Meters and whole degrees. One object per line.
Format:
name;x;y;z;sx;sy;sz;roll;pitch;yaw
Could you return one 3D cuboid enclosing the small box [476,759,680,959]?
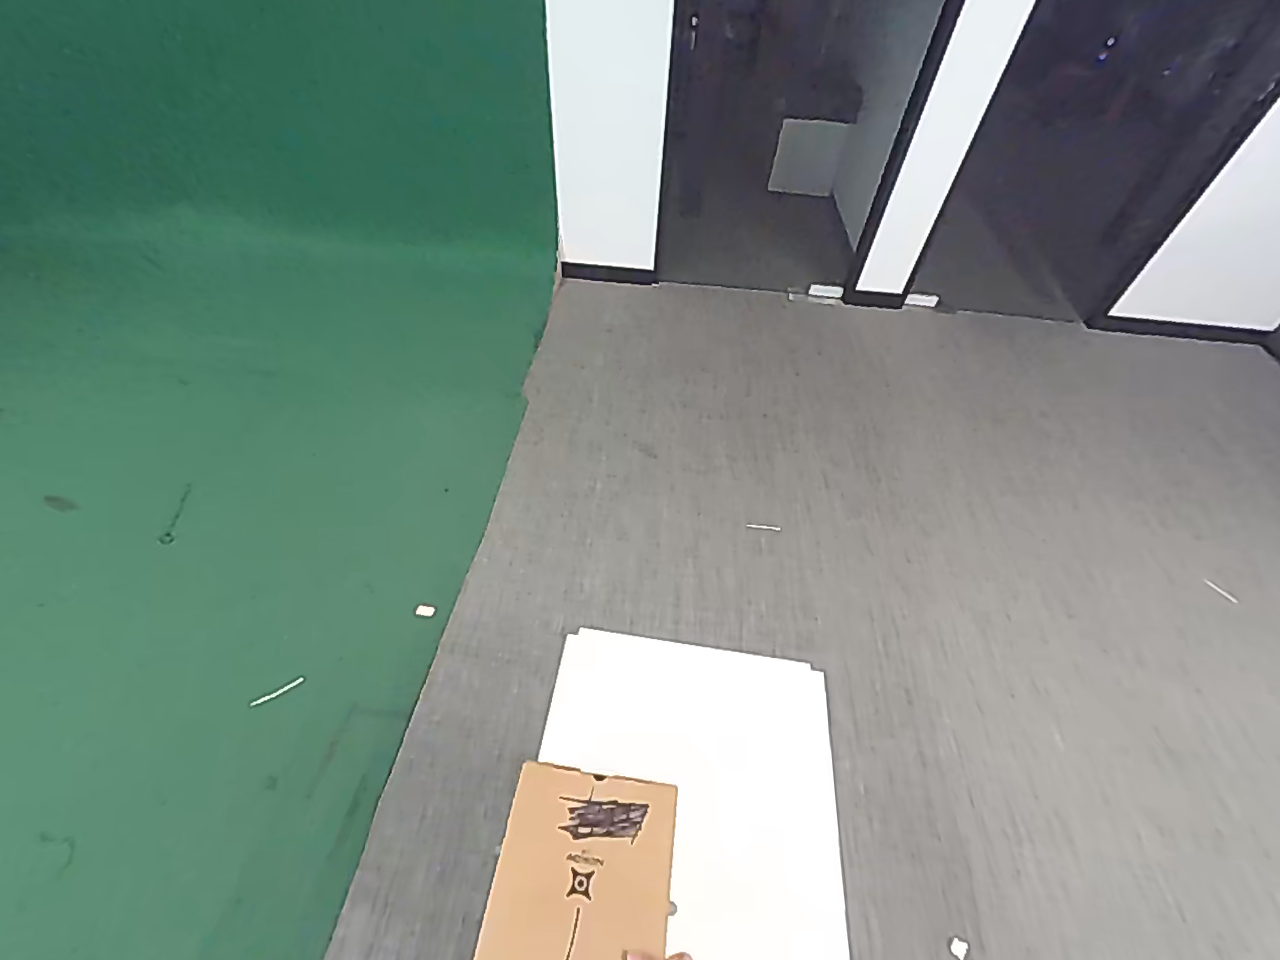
small box;-0.056;0.423;0.569;0.168;0.176;0.179;8;48;3
